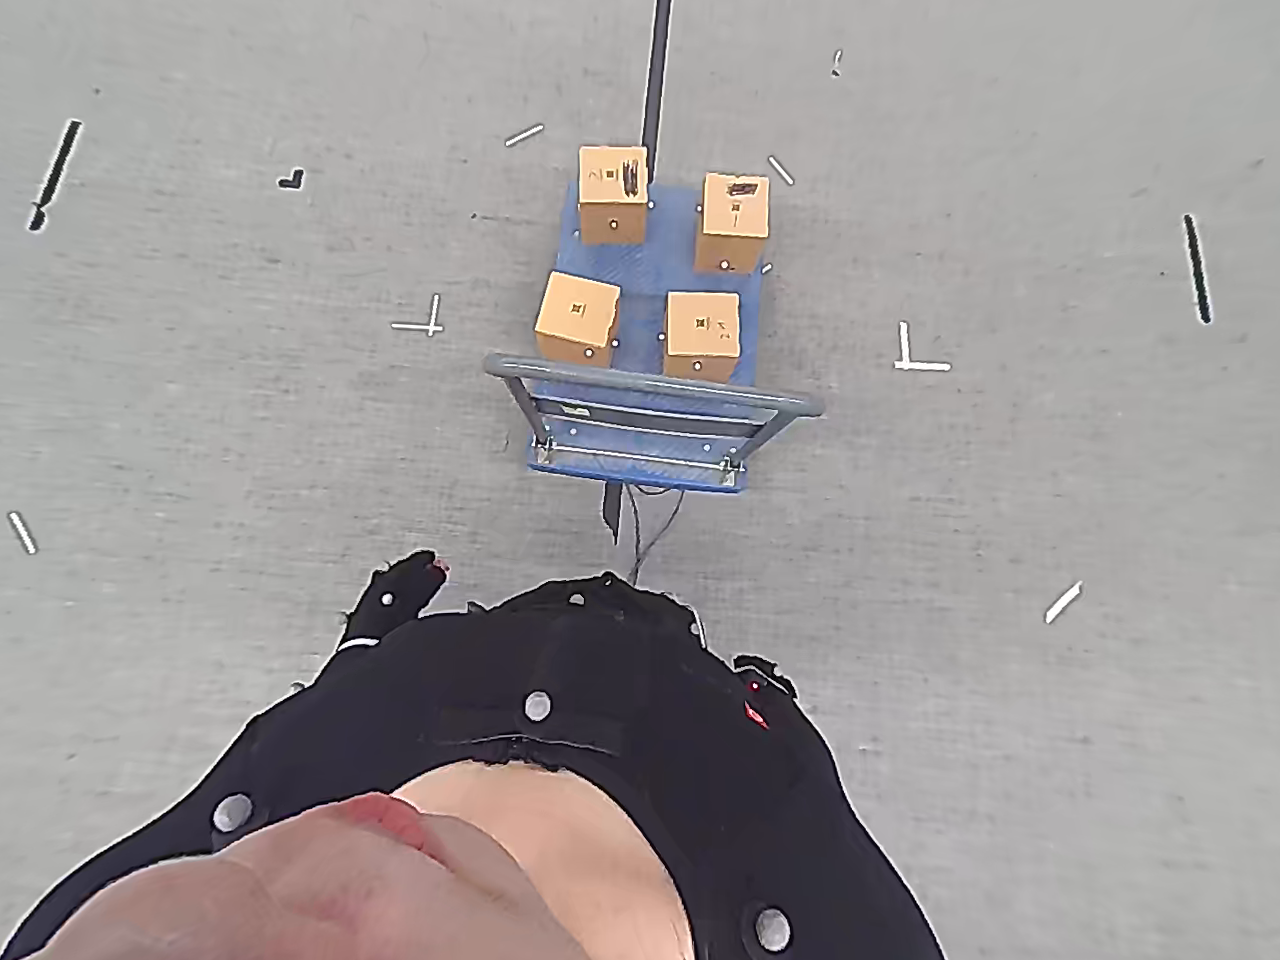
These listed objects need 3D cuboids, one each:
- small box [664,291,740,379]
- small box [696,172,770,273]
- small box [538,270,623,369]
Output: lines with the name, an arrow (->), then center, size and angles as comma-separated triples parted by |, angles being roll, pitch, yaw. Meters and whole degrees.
small box -> 0.154, -0.367, 1.389 | 0.179, 0.176, 0.168 | 1, 79, -2
small box -> 0.245, -0.688, 1.454 | 0.168, 0.176, 0.179 | 4, 80, -1
small box -> -0.148, -0.402, 1.385 | 0.179, 0.176, 0.168 | 13, 78, -1
